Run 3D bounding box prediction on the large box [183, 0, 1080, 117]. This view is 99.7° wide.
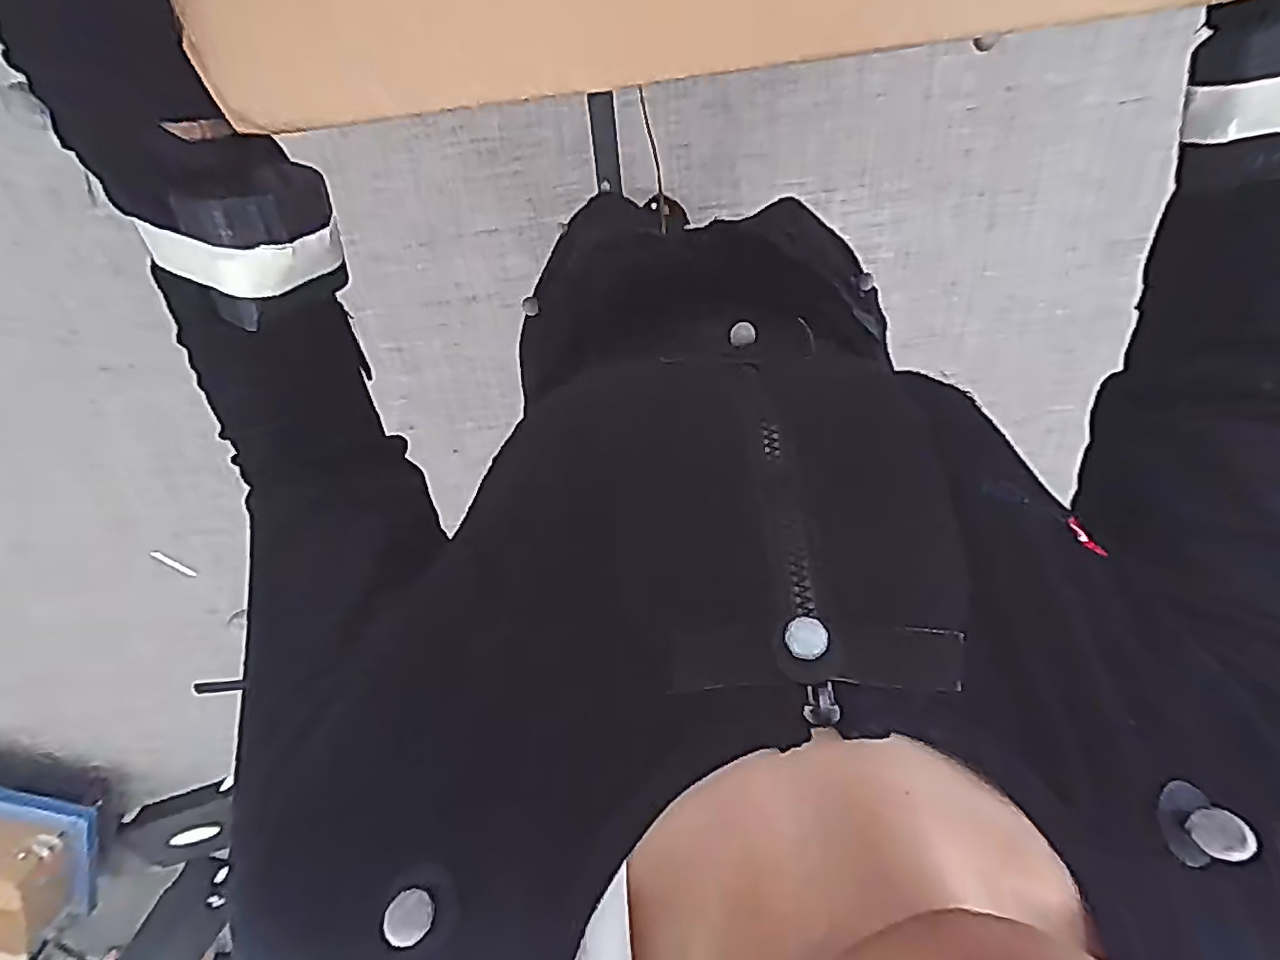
[{"bbox_3d":[0.008,-0.386,0.204,0.408,0.320,0.320,-6,138,1],"label":"large box"}]
